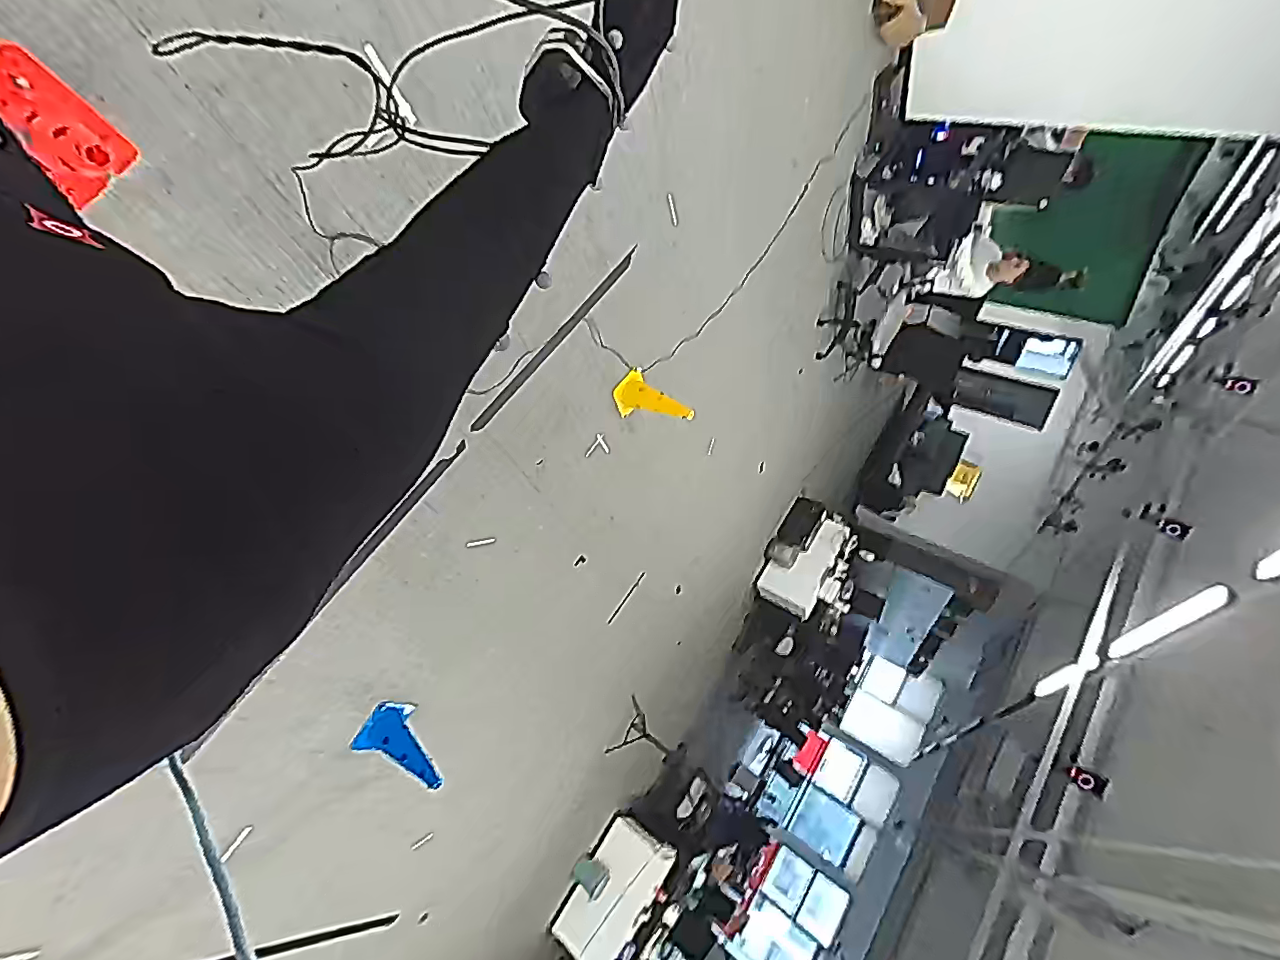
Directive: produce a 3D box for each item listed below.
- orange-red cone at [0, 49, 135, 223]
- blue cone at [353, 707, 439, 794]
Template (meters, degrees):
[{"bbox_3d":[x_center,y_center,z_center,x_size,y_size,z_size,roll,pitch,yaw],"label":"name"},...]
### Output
[{"bbox_3d":[-0.885,-0.503,0.823,0.199,0.360,0.198,-55,149,-13],"label":"orange-red cone"},{"bbox_3d":[-0.873,1.039,2.028,0.193,0.380,0.192,-57,149,-13],"label":"blue cone"}]
